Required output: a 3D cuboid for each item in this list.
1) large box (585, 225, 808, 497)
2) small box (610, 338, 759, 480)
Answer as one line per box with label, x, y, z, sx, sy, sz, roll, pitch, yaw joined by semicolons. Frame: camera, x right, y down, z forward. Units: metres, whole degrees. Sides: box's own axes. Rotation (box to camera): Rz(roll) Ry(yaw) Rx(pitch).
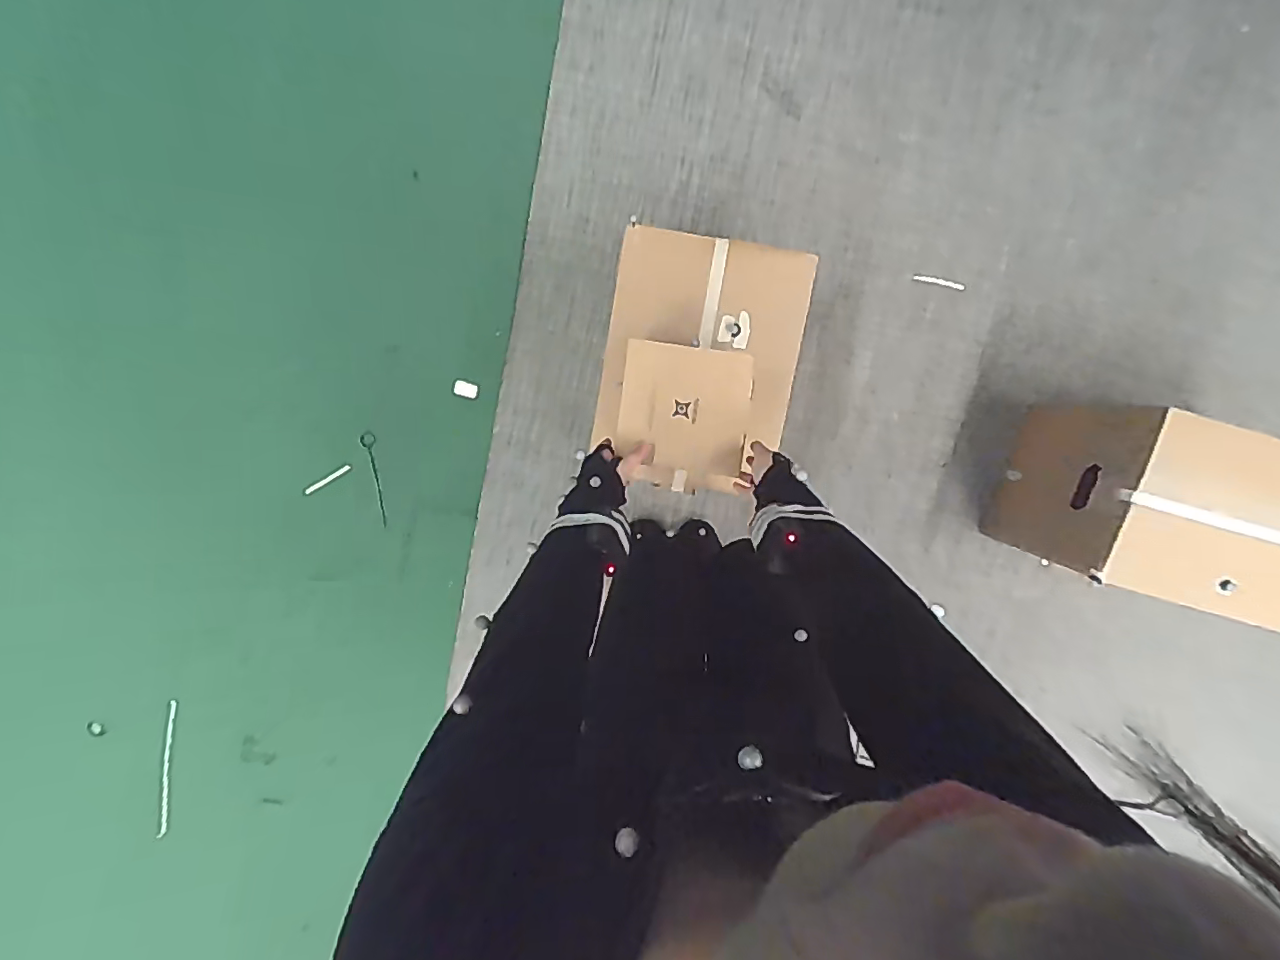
large box;0.091;-0.204;1.029;0.320;0.320;0.408;10;97;-1
small box;0.060;-0.104;0.796;0.179;0.176;0.168;9;97;1
